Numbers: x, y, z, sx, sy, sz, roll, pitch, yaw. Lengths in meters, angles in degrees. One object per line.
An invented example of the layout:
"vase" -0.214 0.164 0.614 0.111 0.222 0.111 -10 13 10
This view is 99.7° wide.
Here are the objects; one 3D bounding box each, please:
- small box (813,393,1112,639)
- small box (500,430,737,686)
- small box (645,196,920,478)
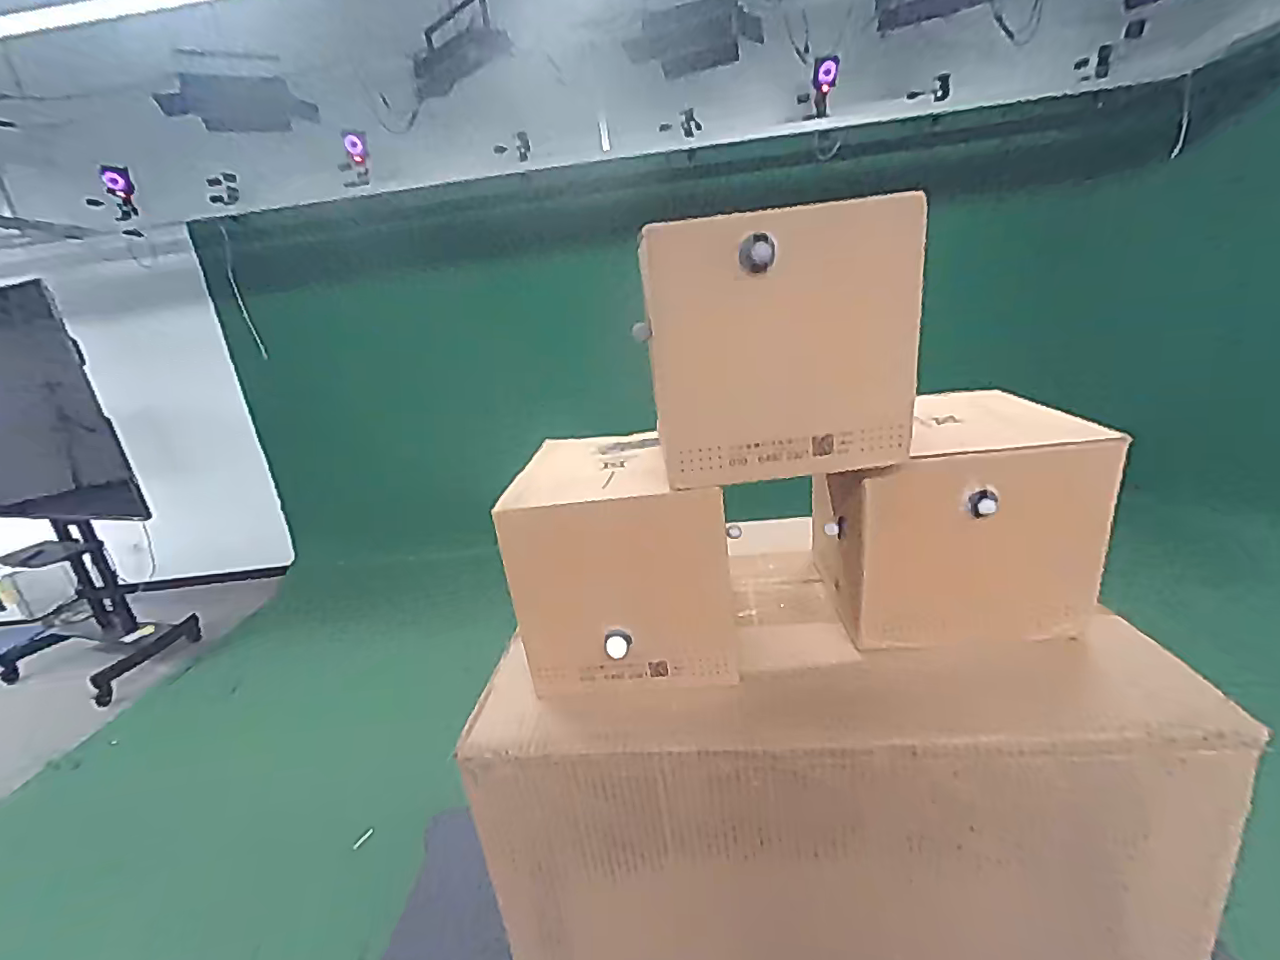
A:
"small box" 0.256 0.026 0.480 0.179 0.176 0.168 -3 20 6
"small box" -0.006 0.059 0.485 0.168 0.176 0.179 -6 20 7
"small box" 0.092 -0.109 0.425 0.168 0.176 0.179 -6 19 1
